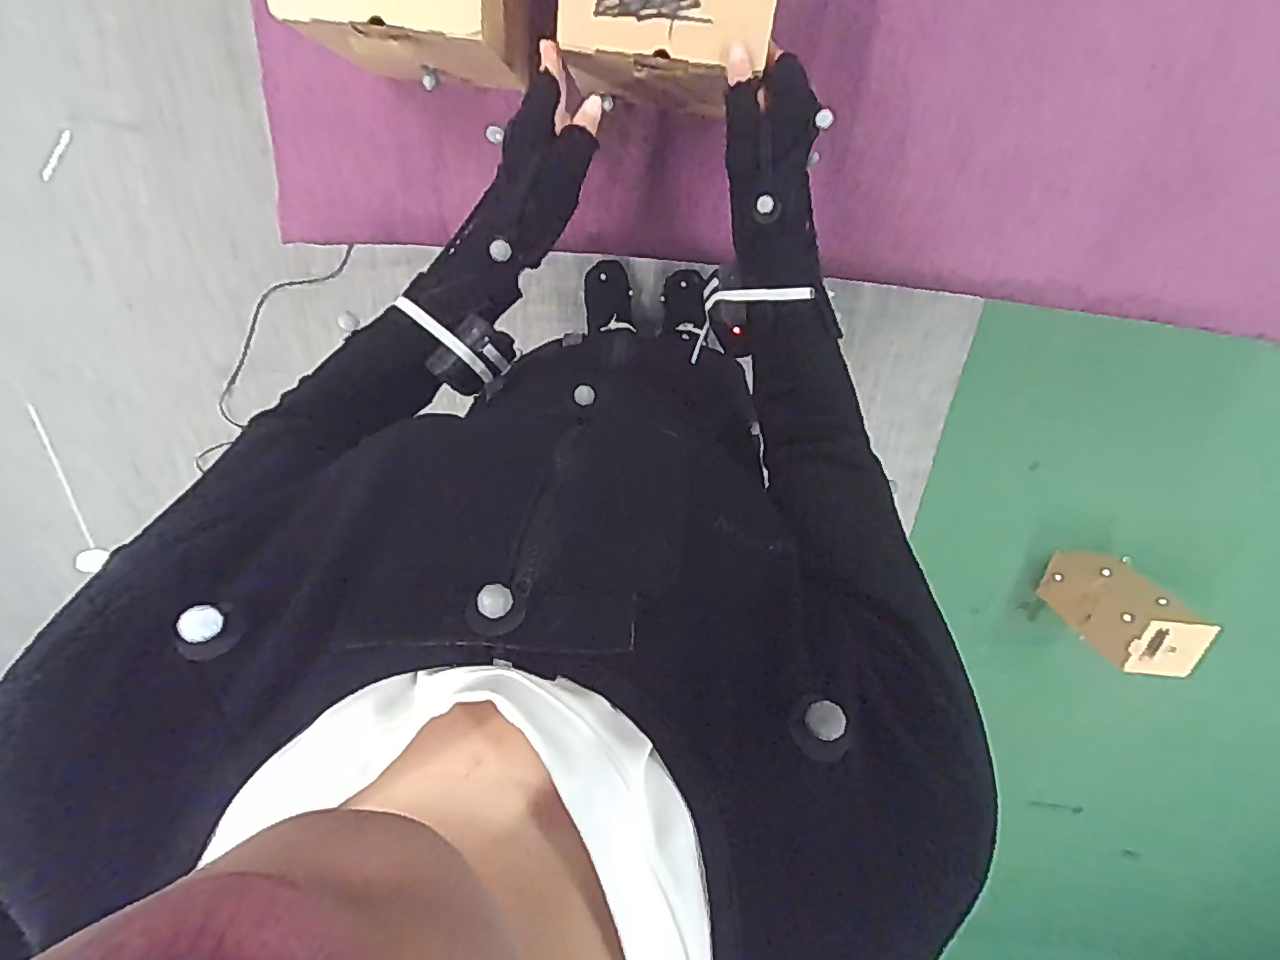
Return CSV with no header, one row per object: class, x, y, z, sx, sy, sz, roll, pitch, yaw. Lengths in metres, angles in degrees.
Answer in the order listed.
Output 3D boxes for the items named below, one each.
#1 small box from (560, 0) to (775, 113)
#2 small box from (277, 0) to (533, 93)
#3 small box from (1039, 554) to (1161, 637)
small box,0.031,-0.441,0.466,0.168,0.176,0.179,7,114,-2
small box,-0.189,-0.463,0.461,0.168,0.176,0.179,6,114,-1
small box,1.321,0.331,1.567,0.179,0.176,0.168,6,114,0
